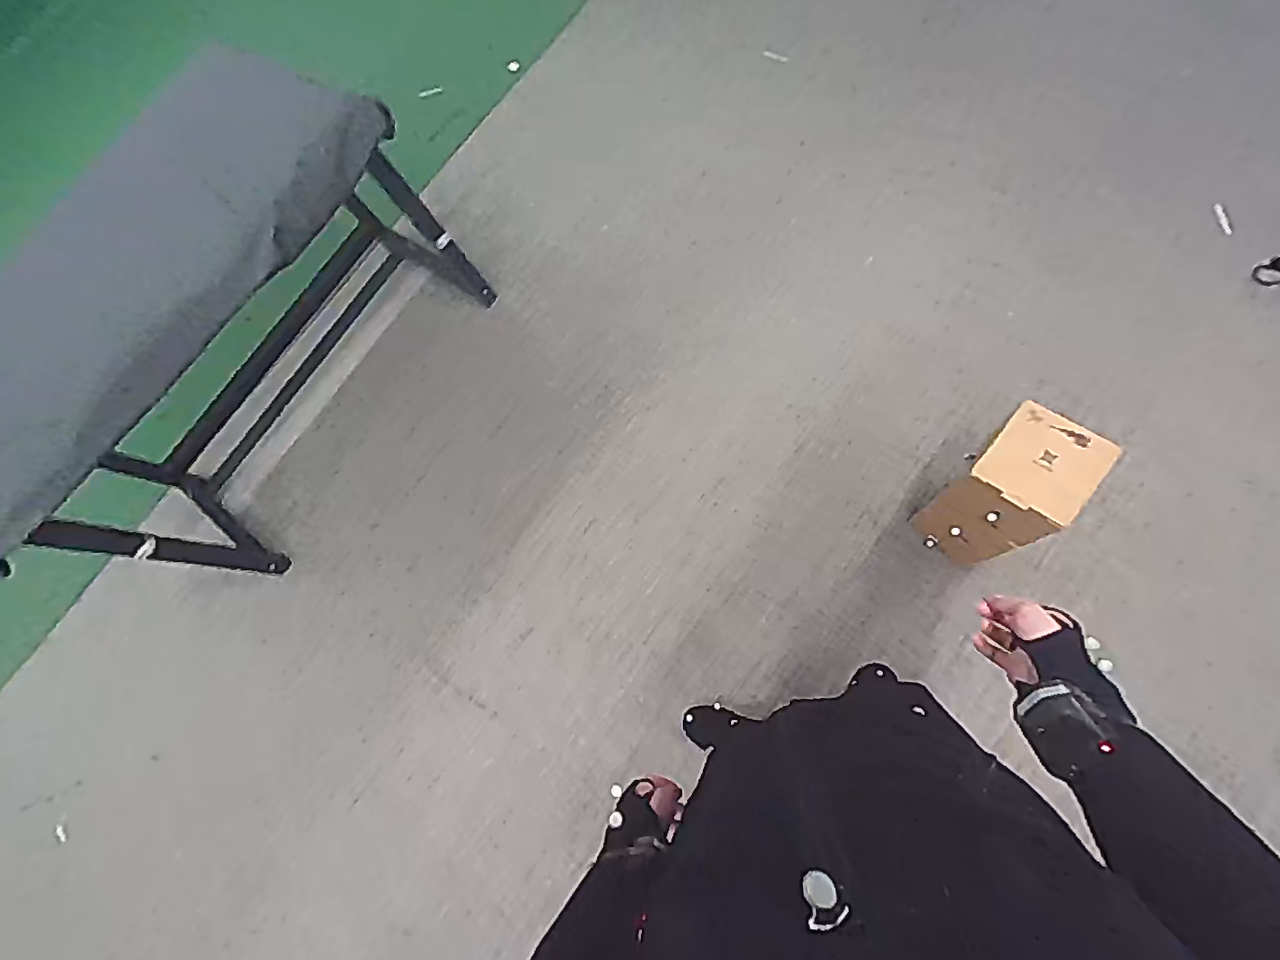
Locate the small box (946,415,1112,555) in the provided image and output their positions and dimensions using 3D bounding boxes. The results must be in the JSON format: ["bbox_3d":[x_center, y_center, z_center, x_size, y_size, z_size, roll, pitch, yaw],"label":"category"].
[{"bbox_3d":[0.705,0.018,1.008,0.168,0.176,0.179,39,85,21],"label":"small box"}]

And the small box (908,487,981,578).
[{"bbox_3d":[0.784,0.116,1.310,0.179,0.176,0.168,-43,68,-1],"label":"small box"}]

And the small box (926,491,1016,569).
[{"bbox_3d":[0.750,0.069,1.156,0.179,0.176,0.168,-41,68,-1],"label":"small box"}]
